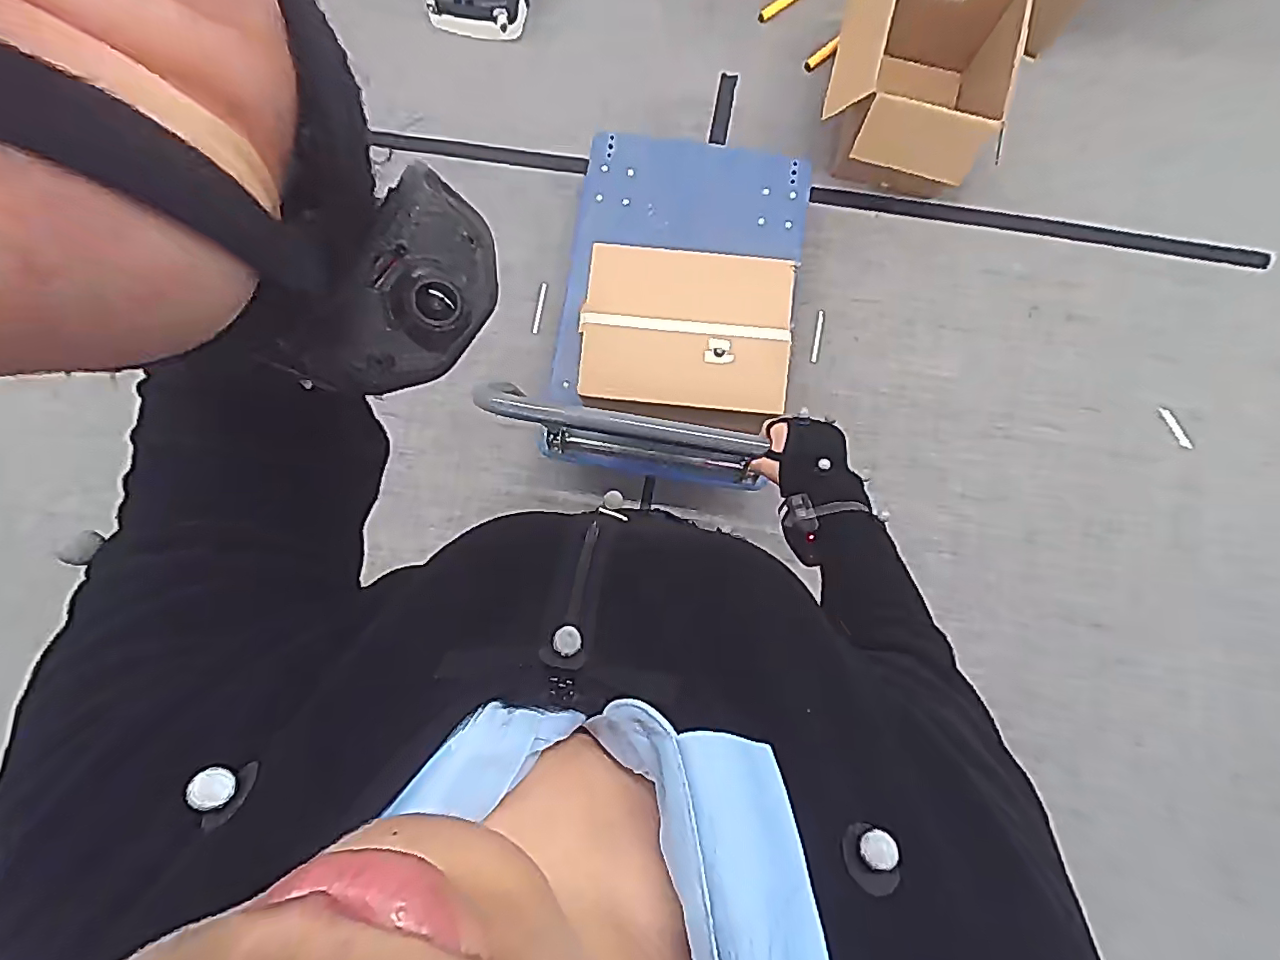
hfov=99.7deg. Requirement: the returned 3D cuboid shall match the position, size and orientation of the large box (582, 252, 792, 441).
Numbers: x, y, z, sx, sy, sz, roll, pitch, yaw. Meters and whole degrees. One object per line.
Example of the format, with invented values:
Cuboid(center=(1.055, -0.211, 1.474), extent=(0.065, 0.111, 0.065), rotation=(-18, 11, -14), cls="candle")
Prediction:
Cuboid(center=(0.092, -0.277, 1.215), extent=(0.408, 0.320, 0.320), rotation=(5, 86, 0), cls="large box")
